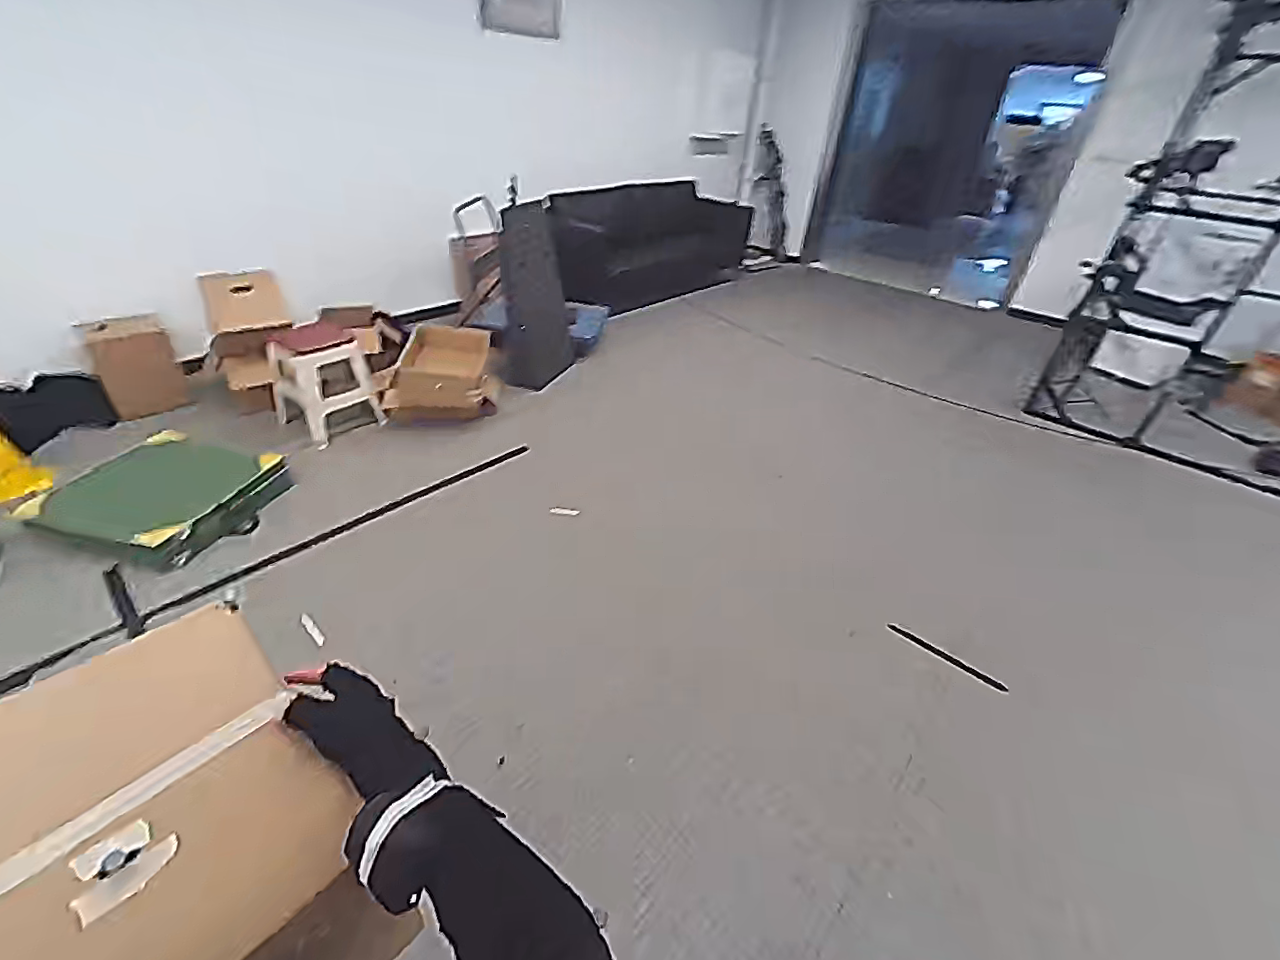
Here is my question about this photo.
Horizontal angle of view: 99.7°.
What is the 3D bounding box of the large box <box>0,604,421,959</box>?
[{"bbox_3d":[-0.466,0.400,0.474,0.320,0.320,0.408,35,44,25],"label":"large box"}]
